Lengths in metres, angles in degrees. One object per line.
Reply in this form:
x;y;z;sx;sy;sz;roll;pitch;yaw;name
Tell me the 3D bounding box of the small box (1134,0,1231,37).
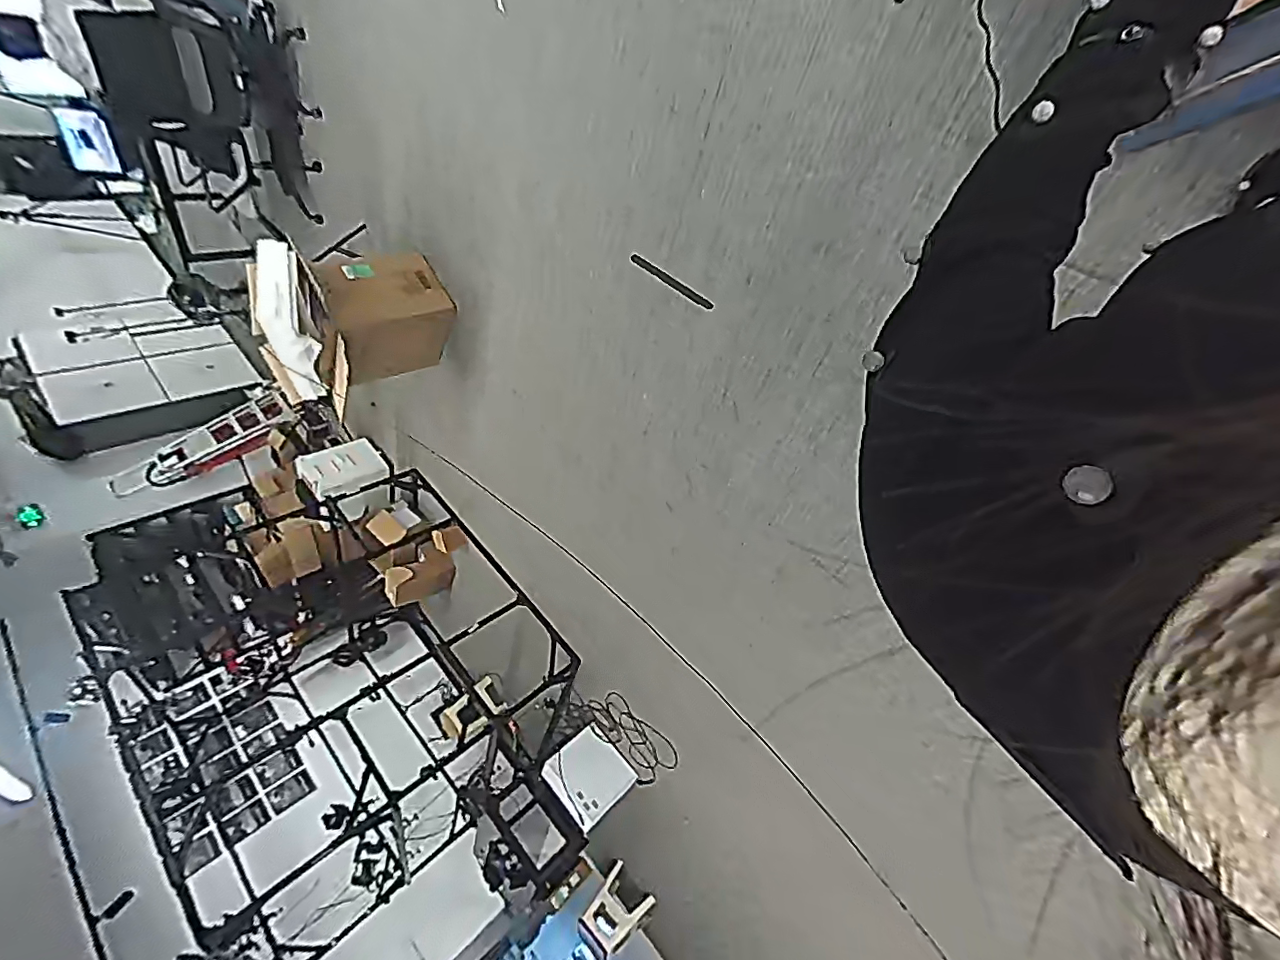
0.762;-0.734;0.717;0.168;0.176;0.179;-12;103;49;small box
